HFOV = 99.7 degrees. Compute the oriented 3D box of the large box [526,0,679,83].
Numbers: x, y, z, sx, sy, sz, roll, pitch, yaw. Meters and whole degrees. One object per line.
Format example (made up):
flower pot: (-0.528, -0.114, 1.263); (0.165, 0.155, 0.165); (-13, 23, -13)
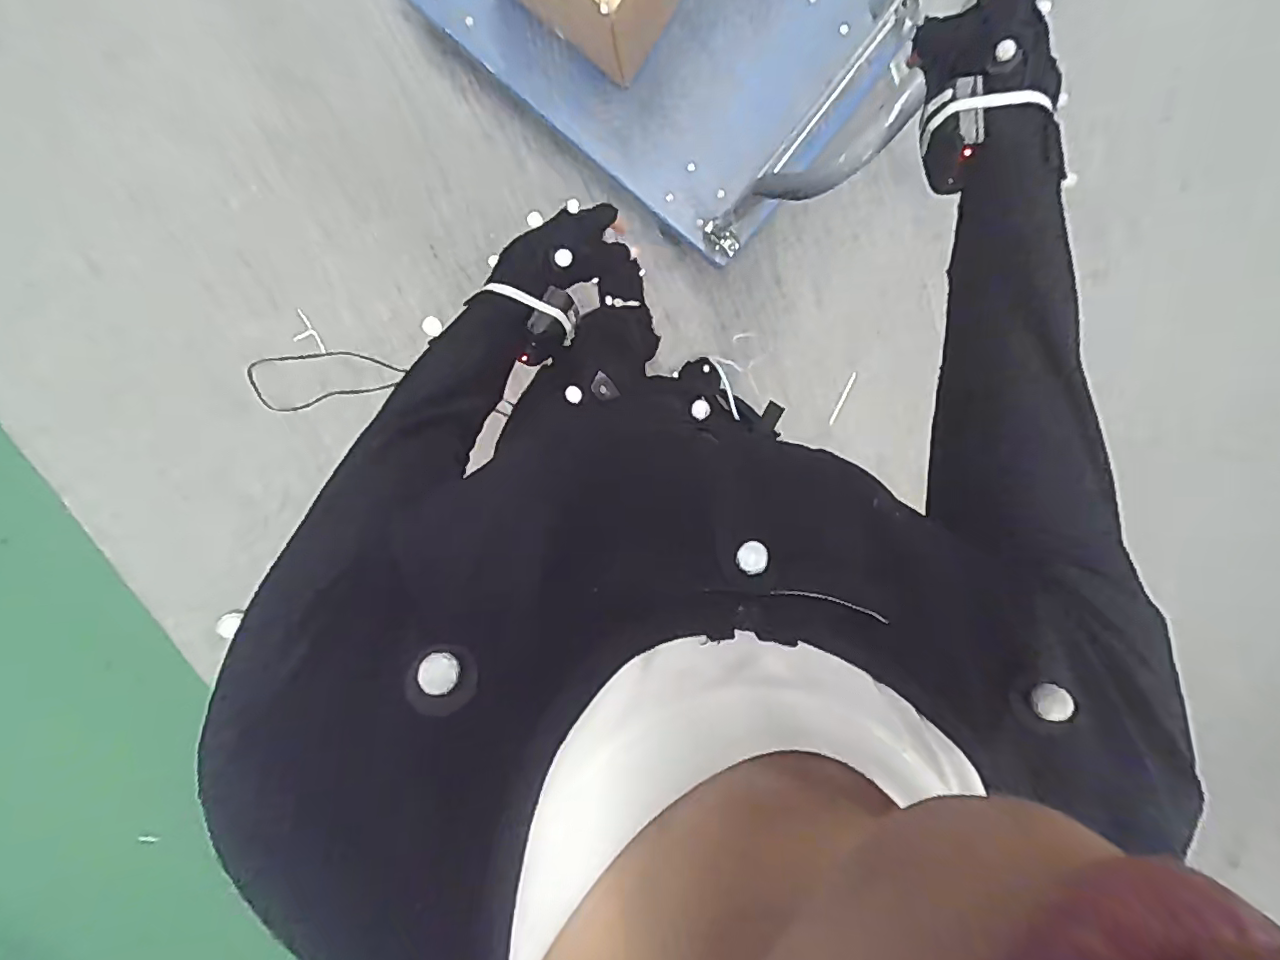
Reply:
large box: (-0.037, -0.963, 0.845); (0.320, 0.320, 0.408); (35, 108, -8)
